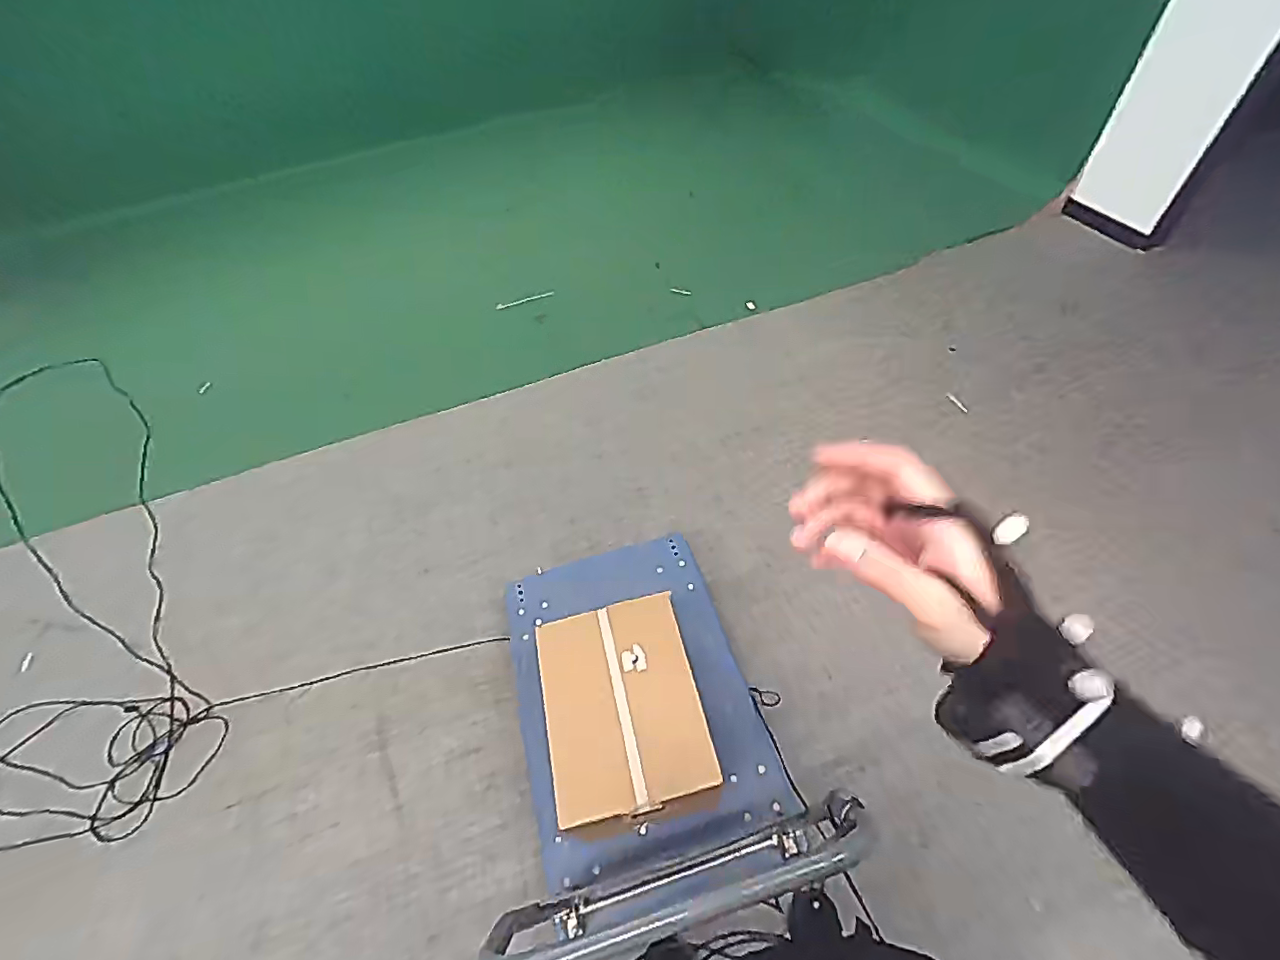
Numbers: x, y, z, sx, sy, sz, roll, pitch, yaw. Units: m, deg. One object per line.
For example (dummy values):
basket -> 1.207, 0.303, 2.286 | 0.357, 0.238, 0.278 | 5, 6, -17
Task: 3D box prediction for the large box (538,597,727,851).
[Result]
large box -> -0.018, 0.541, 1.209 | 0.320, 0.320, 0.408 | -13, 51, -5
